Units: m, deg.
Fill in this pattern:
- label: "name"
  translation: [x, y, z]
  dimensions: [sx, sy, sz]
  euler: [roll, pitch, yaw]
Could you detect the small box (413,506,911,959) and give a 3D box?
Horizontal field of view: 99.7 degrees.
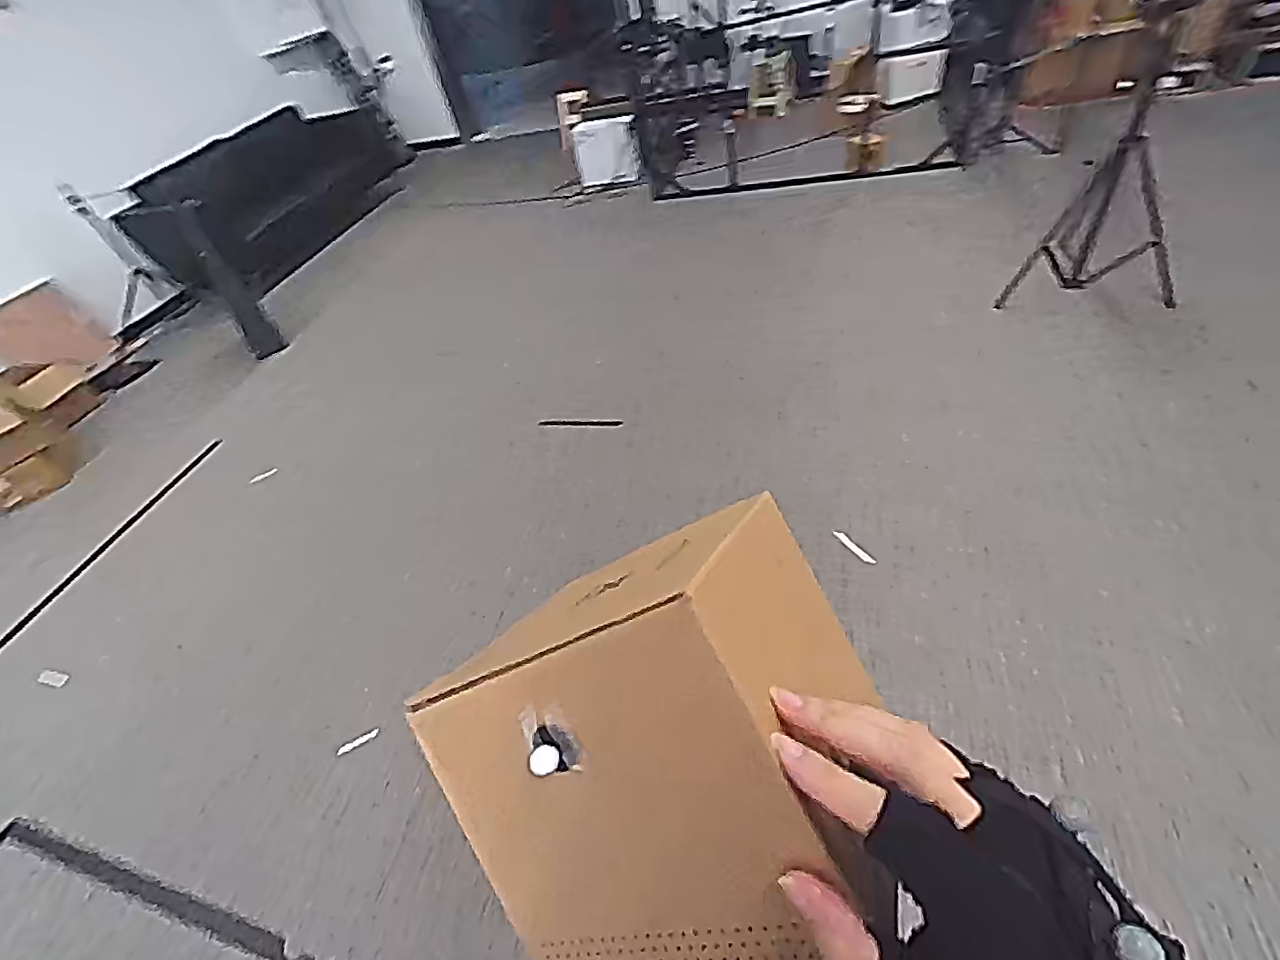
- label: "small box"
  translation: [0.021, 0.141, 0.303]
  dimensions: [0.179, 0.176, 0.168]
  euler: [-29, 0, 25]
